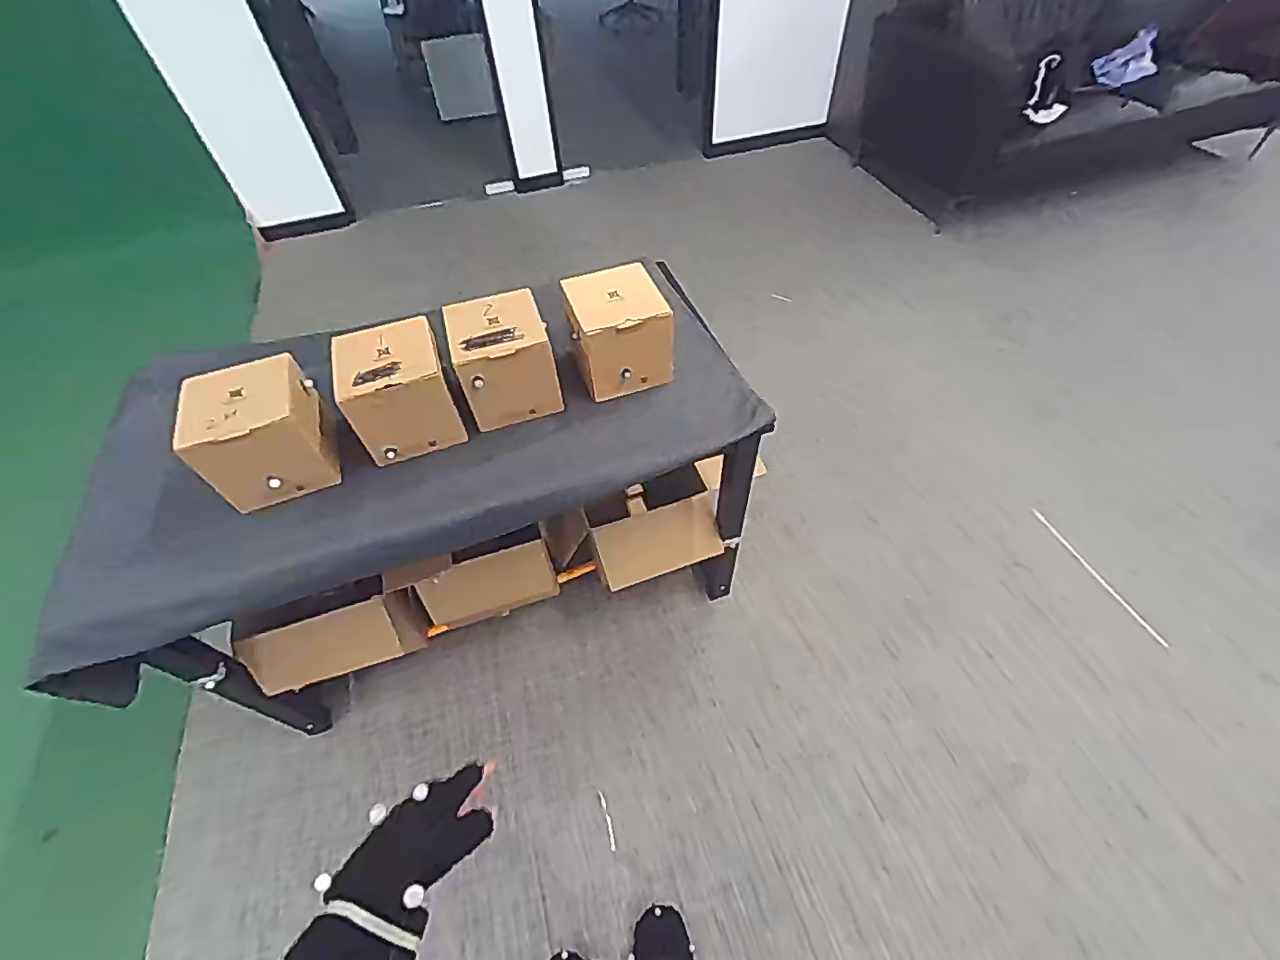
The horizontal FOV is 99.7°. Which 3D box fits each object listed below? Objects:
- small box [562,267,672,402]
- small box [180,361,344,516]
[{"bbox_3d":[-0.044,-0.283,1.059,0.168,0.176,0.179,-18,54,-10],"label":"small box"},{"bbox_3d":[-0.635,-0.069,0.928,0.168,0.176,0.179,-21,54,-12],"label":"small box"}]
